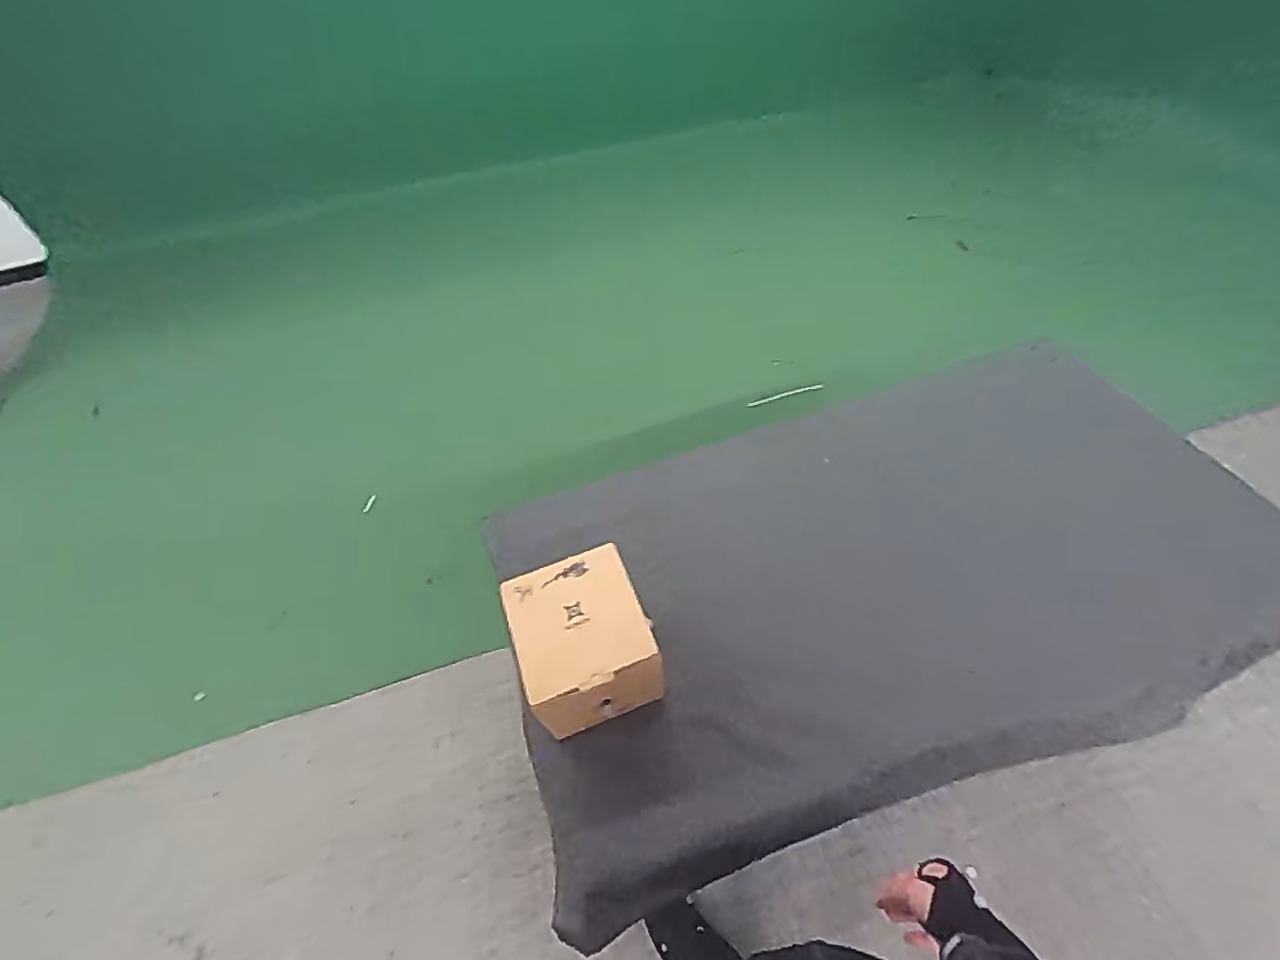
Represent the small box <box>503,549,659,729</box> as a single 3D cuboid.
[{"bbox_3d":[-0.077,0.231,0.762,0.168,0.176,0.179,-18,54,-10],"label":"small box"}]
